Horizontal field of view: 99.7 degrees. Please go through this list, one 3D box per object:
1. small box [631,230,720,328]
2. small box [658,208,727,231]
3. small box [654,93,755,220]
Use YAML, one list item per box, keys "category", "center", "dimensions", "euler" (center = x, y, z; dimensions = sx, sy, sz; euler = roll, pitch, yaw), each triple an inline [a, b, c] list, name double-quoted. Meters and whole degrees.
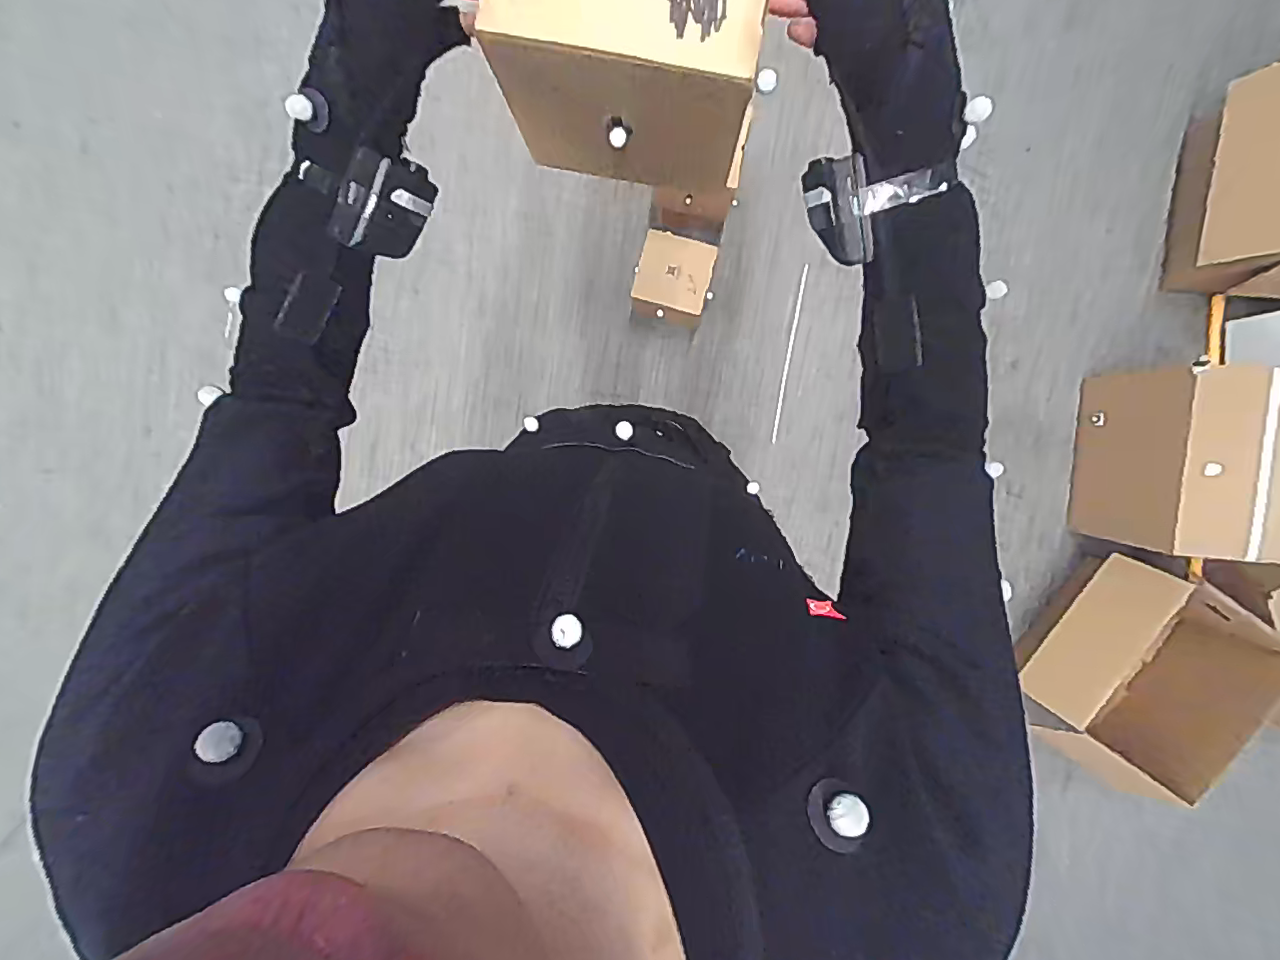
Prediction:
- category: "small box"
  center: [0.085, -0.492, 1.352]
  dimensions: [0.179, 0.176, 0.168]
  euler: [16, 95, 1]
- category: "small box"
  center: [0.137, -0.734, 1.334]
  dimensions: [0.179, 0.176, 0.168]
  euler: [5, 94, 1]
- category: "small box"
  center: [0.133, -0.688, 1.173]
  dimensions: [0.179, 0.176, 0.168]
  euler: [12, 95, 1]
